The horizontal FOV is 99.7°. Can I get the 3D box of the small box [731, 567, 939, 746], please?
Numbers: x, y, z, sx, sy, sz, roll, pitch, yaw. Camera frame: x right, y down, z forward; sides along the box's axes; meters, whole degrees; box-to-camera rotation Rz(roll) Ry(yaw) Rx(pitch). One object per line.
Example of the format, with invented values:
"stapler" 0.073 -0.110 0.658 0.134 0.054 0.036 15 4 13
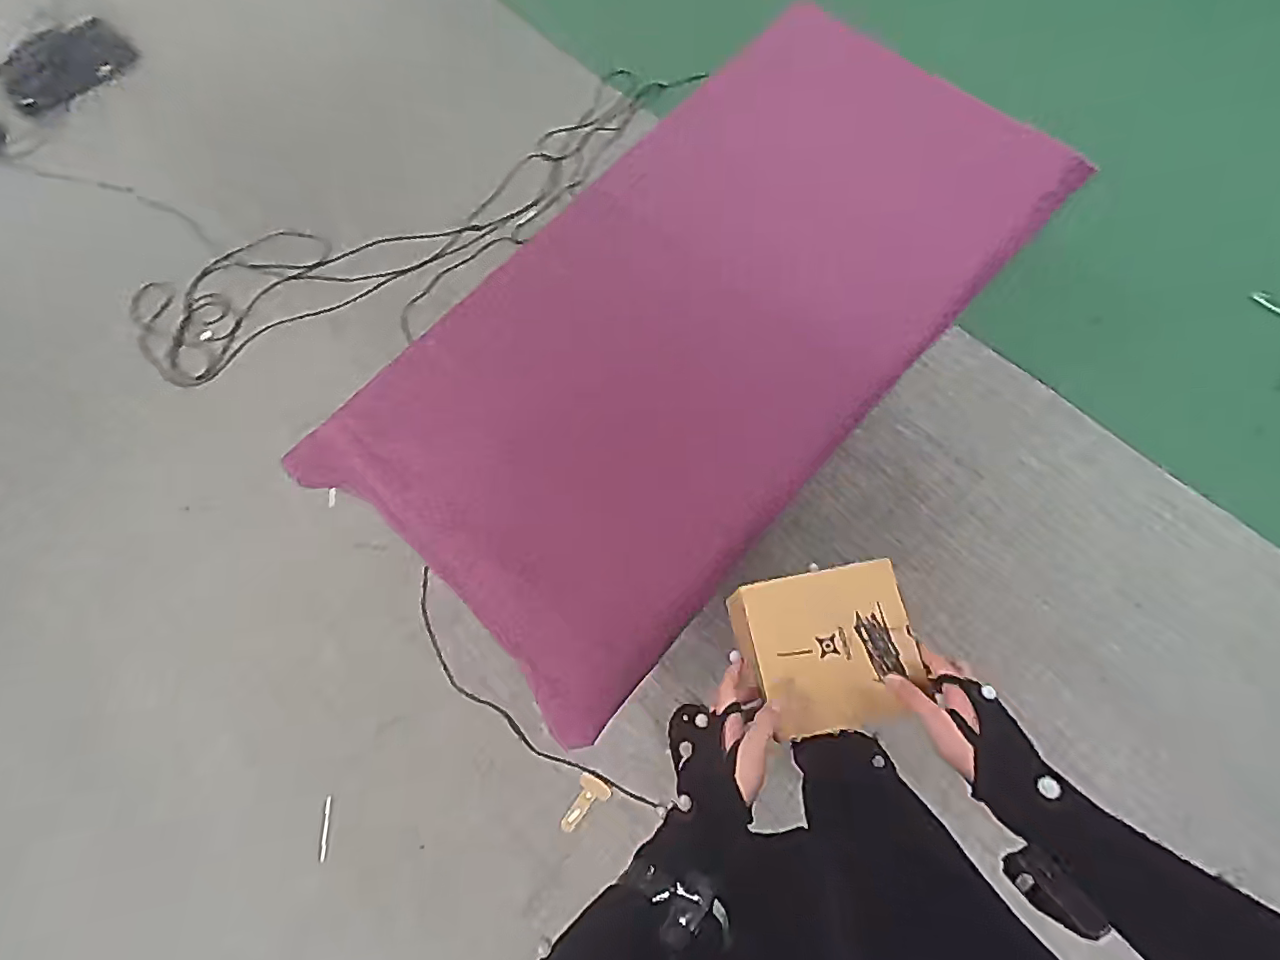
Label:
"small box" 0.217 0.210 0.655 0.179 0.176 0.168 -10 70 2
